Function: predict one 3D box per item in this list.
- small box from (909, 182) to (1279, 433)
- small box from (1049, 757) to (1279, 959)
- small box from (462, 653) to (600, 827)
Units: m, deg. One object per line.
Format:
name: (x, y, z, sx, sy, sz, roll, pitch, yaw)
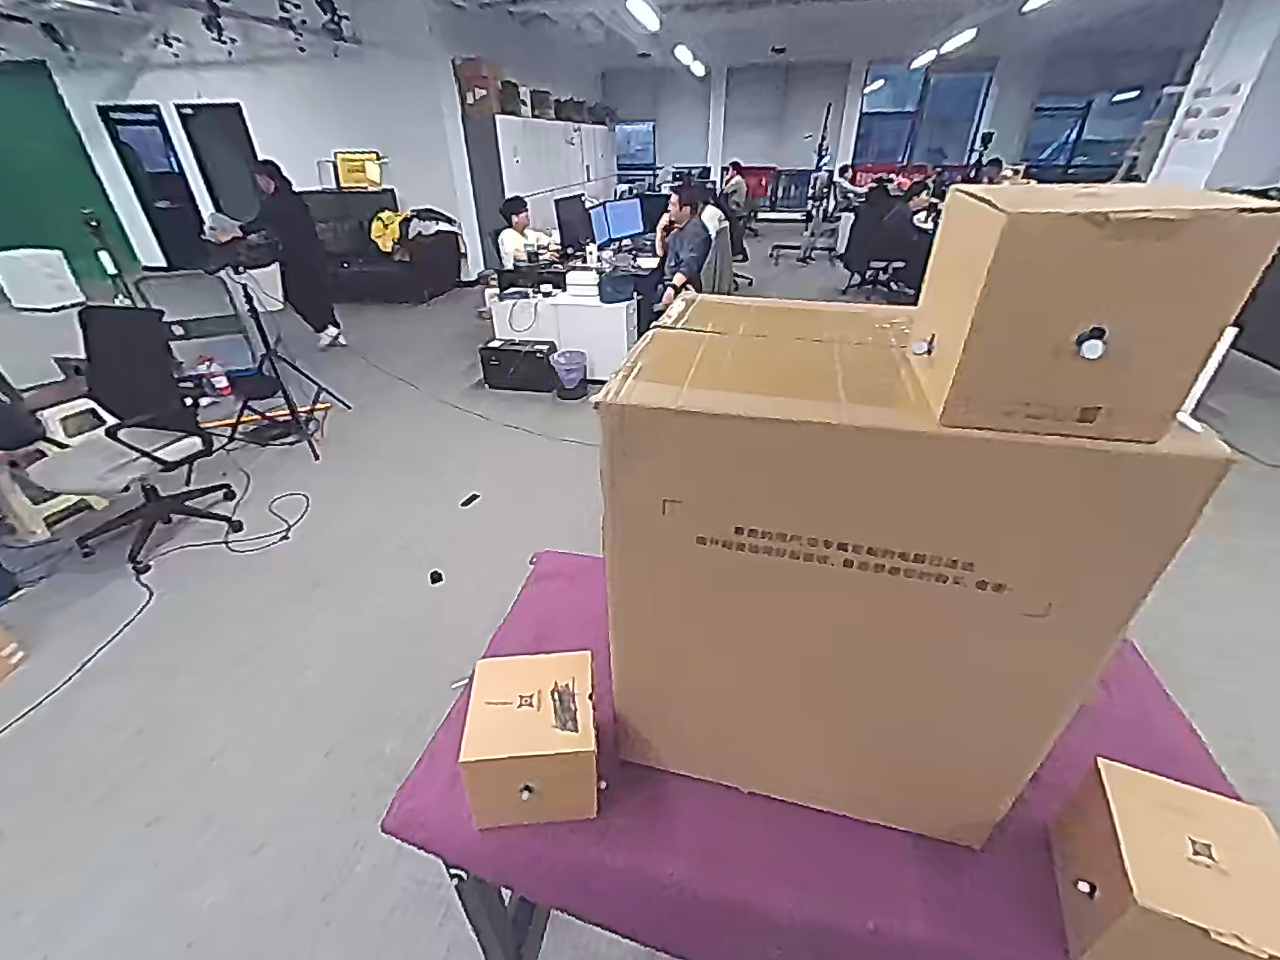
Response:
small box: (0.352, -0.153, 0.470, 0.168, 0.176, 0.179, 6, 34, 12)
small box: (0.616, 0.476, 0.631, 0.168, 0.176, 0.179, 13, 33, 20)
small box: (-0.149, 0.380, 0.799, 0.179, 0.176, 0.168, -2, 31, -6)
